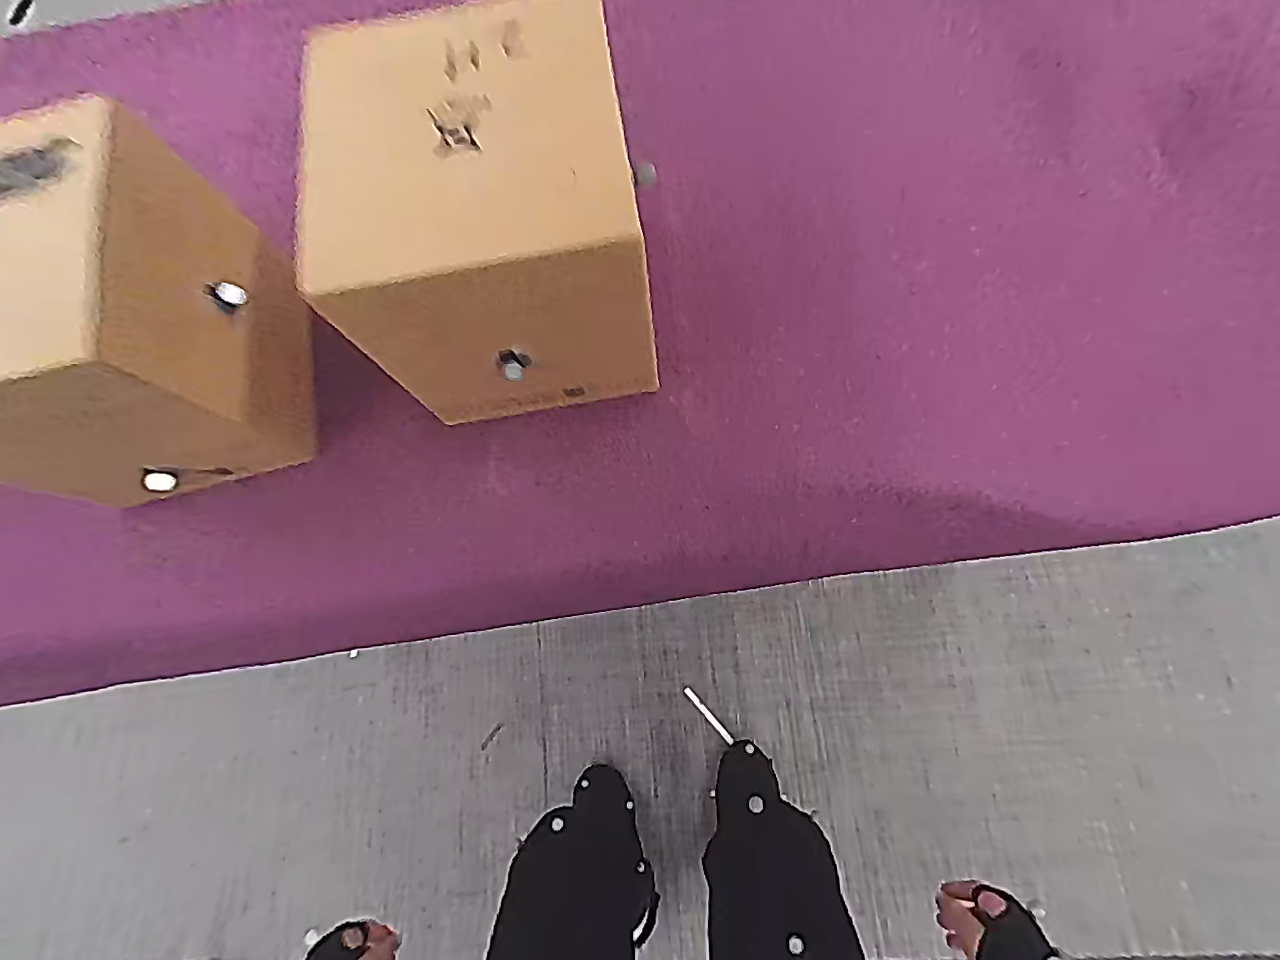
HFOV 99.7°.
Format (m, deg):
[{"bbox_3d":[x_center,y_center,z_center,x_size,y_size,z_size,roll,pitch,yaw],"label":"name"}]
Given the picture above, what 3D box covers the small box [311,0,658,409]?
[{"bbox_3d":[-0.082,-0.158,0.356,0.168,0.176,0.179,-9,73,1],"label":"small box"}]
